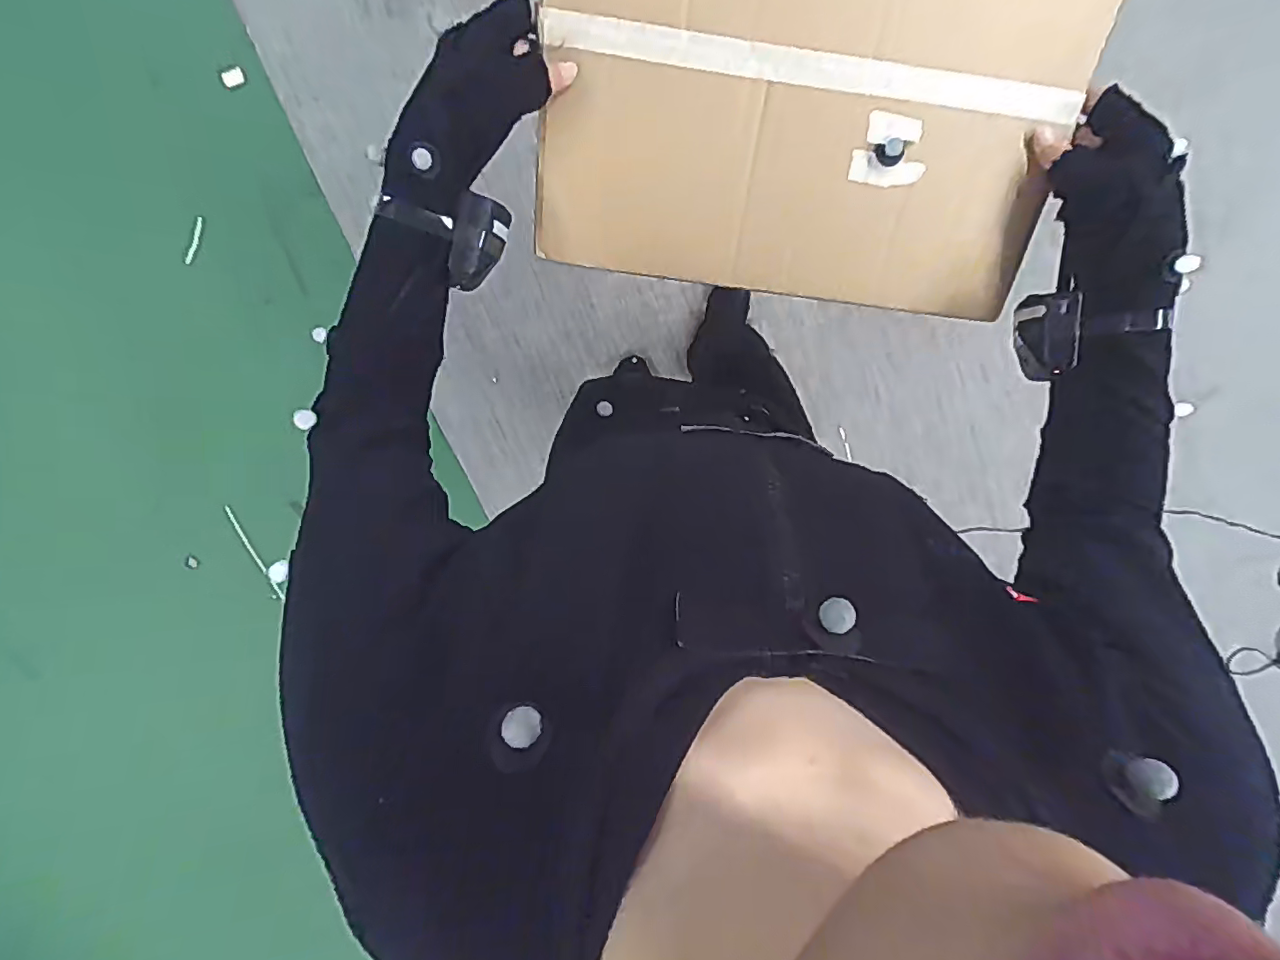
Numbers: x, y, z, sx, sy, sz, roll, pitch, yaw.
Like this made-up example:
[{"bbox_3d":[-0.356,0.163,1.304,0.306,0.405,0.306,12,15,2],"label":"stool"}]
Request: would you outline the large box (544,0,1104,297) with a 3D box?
[{"bbox_3d":[0.126,-0.378,0.537,0.408,0.320,0.320,6,115,-4],"label":"large box"}]
